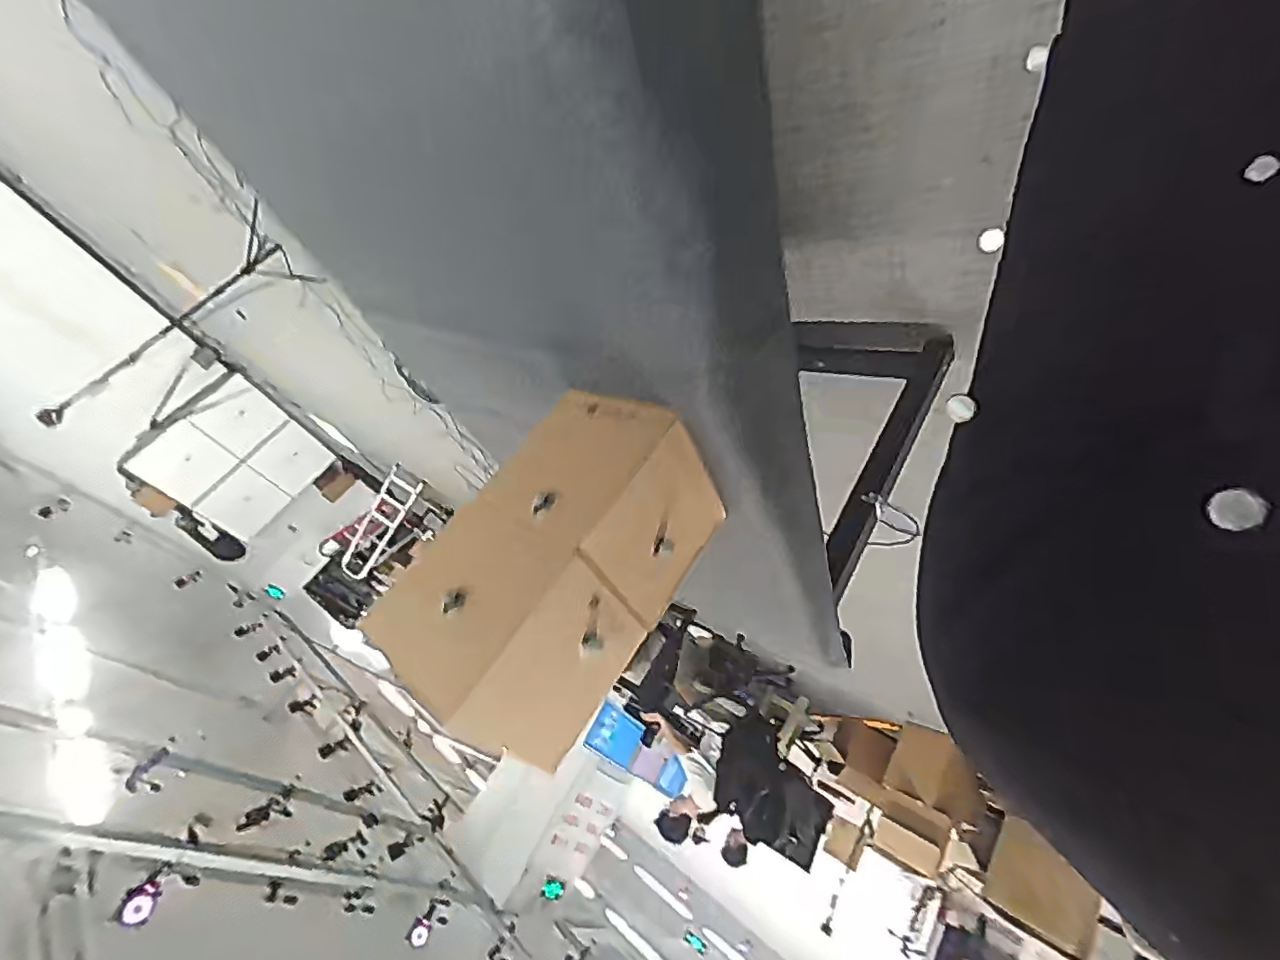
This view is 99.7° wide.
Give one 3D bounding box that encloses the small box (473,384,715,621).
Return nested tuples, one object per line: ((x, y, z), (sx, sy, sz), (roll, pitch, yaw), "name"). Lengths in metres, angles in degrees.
((-0.040, 0.020, 0.603), (0.168, 0.176, 0.179), (18, 151, 40), "small box")

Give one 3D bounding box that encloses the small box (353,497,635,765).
((-0.137, 0.140, 0.544), (0.179, 0.176, 0.168), (18, 151, 39), "small box")
